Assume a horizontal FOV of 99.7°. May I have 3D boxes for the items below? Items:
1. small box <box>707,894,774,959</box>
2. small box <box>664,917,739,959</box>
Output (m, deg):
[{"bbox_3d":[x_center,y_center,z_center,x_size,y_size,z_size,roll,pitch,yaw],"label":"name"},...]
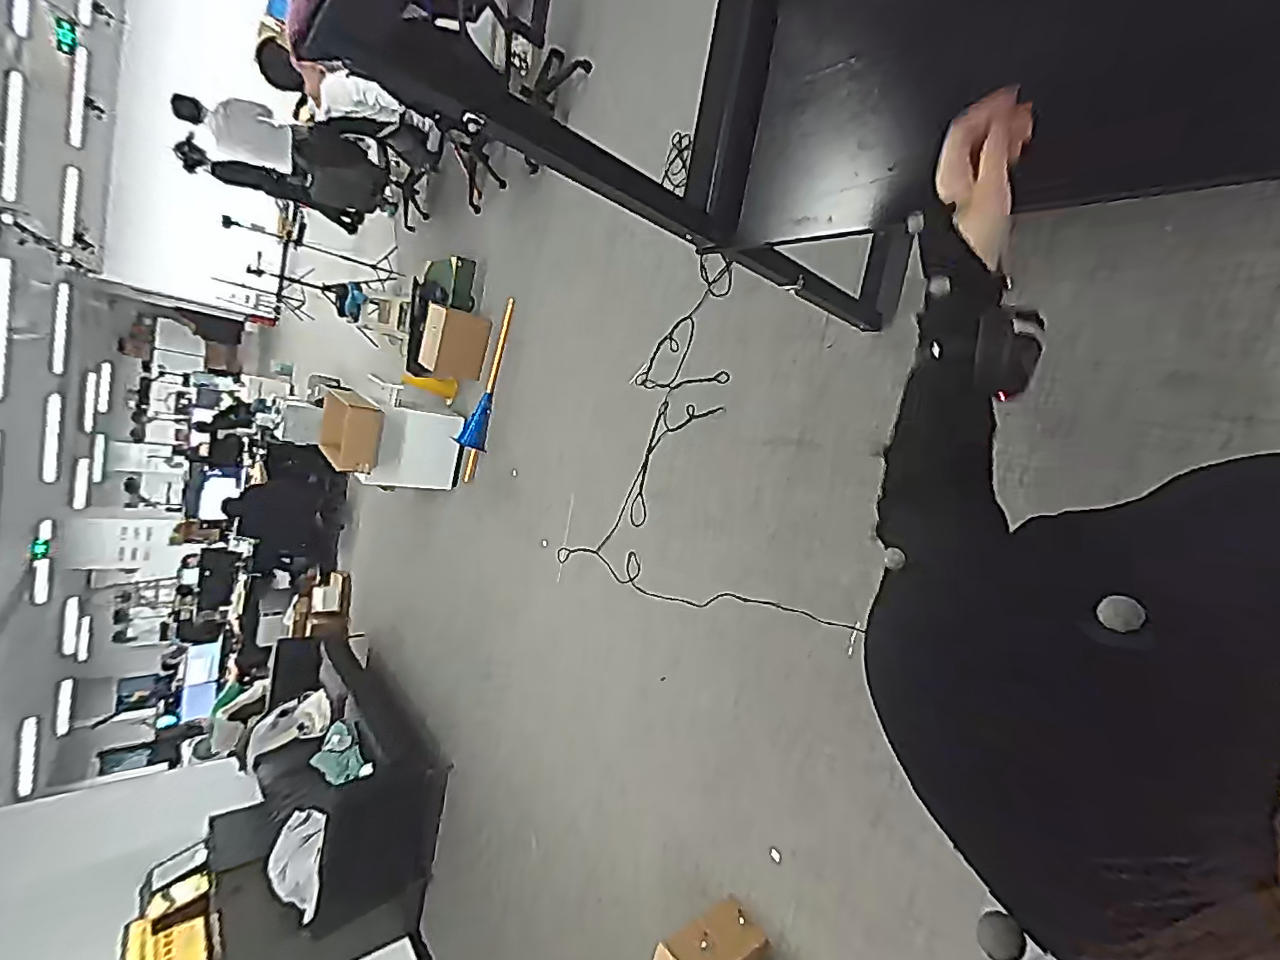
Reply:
[{"bbox_3d":[0.306,1.505,1.746,0.168,0.176,0.179,27,106,46],"label":"small box"},{"bbox_3d":[0.181,1.497,1.638,0.168,0.176,0.179,25,105,46],"label":"small box"}]
